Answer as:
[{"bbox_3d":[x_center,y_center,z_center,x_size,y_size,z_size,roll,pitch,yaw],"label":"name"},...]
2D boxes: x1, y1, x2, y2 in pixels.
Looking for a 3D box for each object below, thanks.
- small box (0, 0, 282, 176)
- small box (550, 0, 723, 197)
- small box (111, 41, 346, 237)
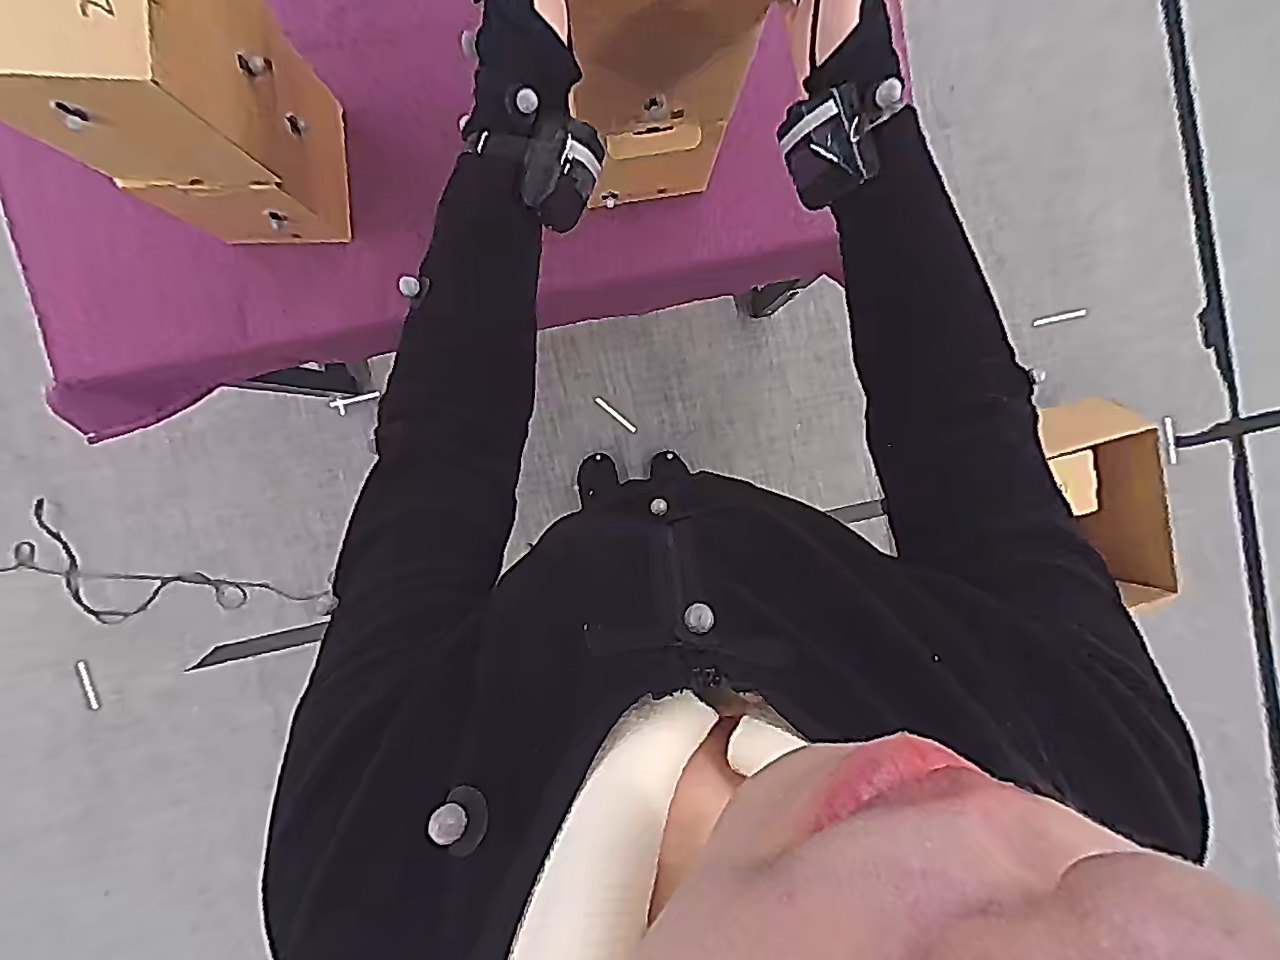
[{"bbox_3d":[-0.452,-0.386,0.469,0.179,0.176,0.168,0,96,-3],"label":"small box"},{"bbox_3d":[-0.006,-0.462,0.645,0.168,0.176,0.179,-9,94,-2],"label":"small box"},{"bbox_3d":[-0.466,-0.398,0.632,0.168,0.176,0.179,-1,95,-3],"label":"small box"}]
